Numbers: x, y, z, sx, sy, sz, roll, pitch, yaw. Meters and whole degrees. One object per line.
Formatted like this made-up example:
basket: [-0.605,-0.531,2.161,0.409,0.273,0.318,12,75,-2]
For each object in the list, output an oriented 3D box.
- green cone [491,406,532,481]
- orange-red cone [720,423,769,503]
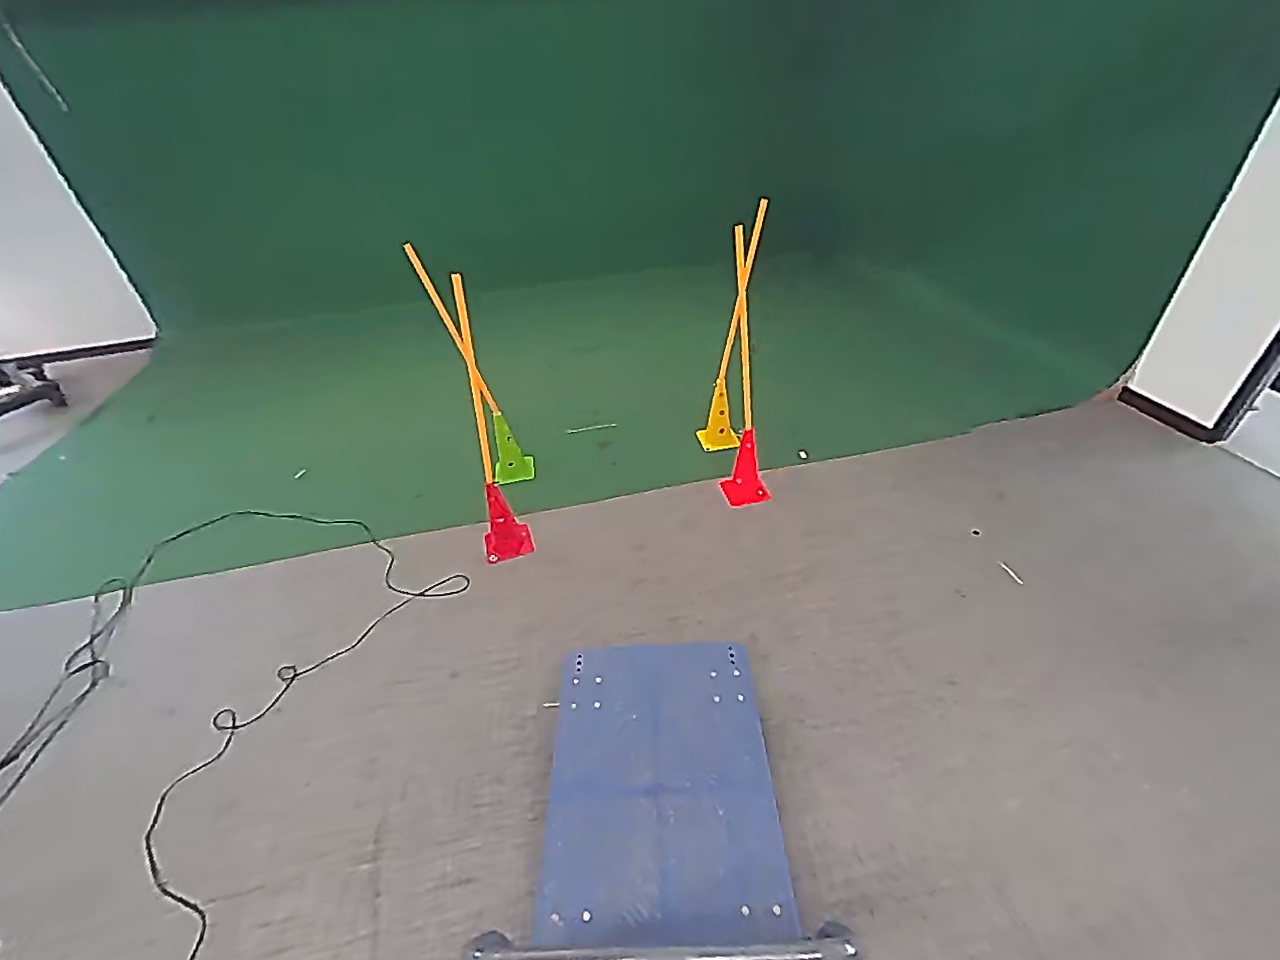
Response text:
green cone: [-0.677,-0.202,2.710,0.200,0.368,0.202,-11,38,-6]
orange-red cone: [0.480,-0.099,2.454,0.198,0.360,0.199,-9,37,-7]
